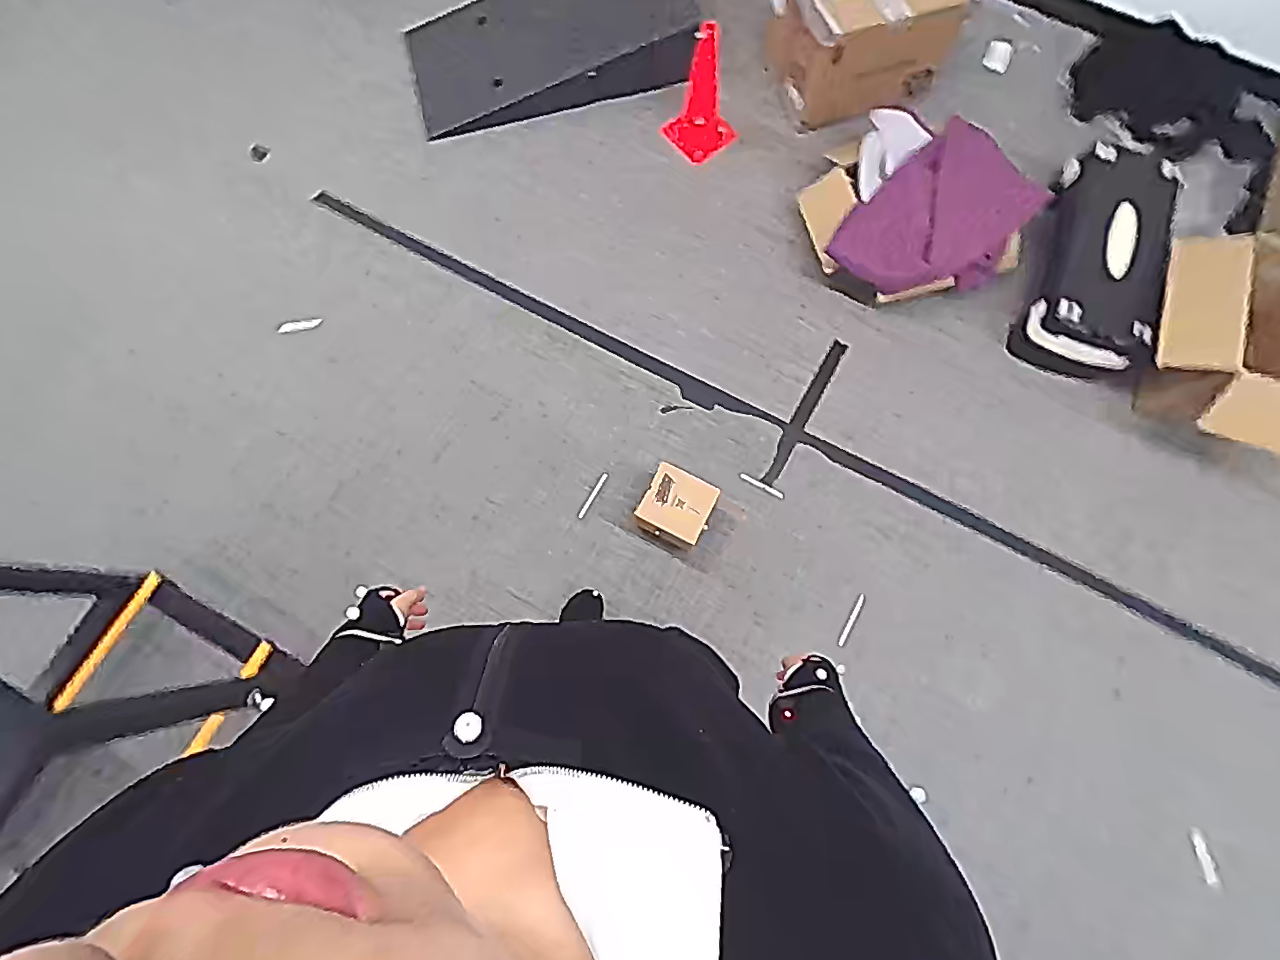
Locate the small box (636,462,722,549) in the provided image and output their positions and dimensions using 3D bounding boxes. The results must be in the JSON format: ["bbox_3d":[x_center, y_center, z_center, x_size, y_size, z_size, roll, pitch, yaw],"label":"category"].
[{"bbox_3d":[0.102,0.079,1.481,0.179,0.176,0.168,28,79,6],"label":"small box"}]
